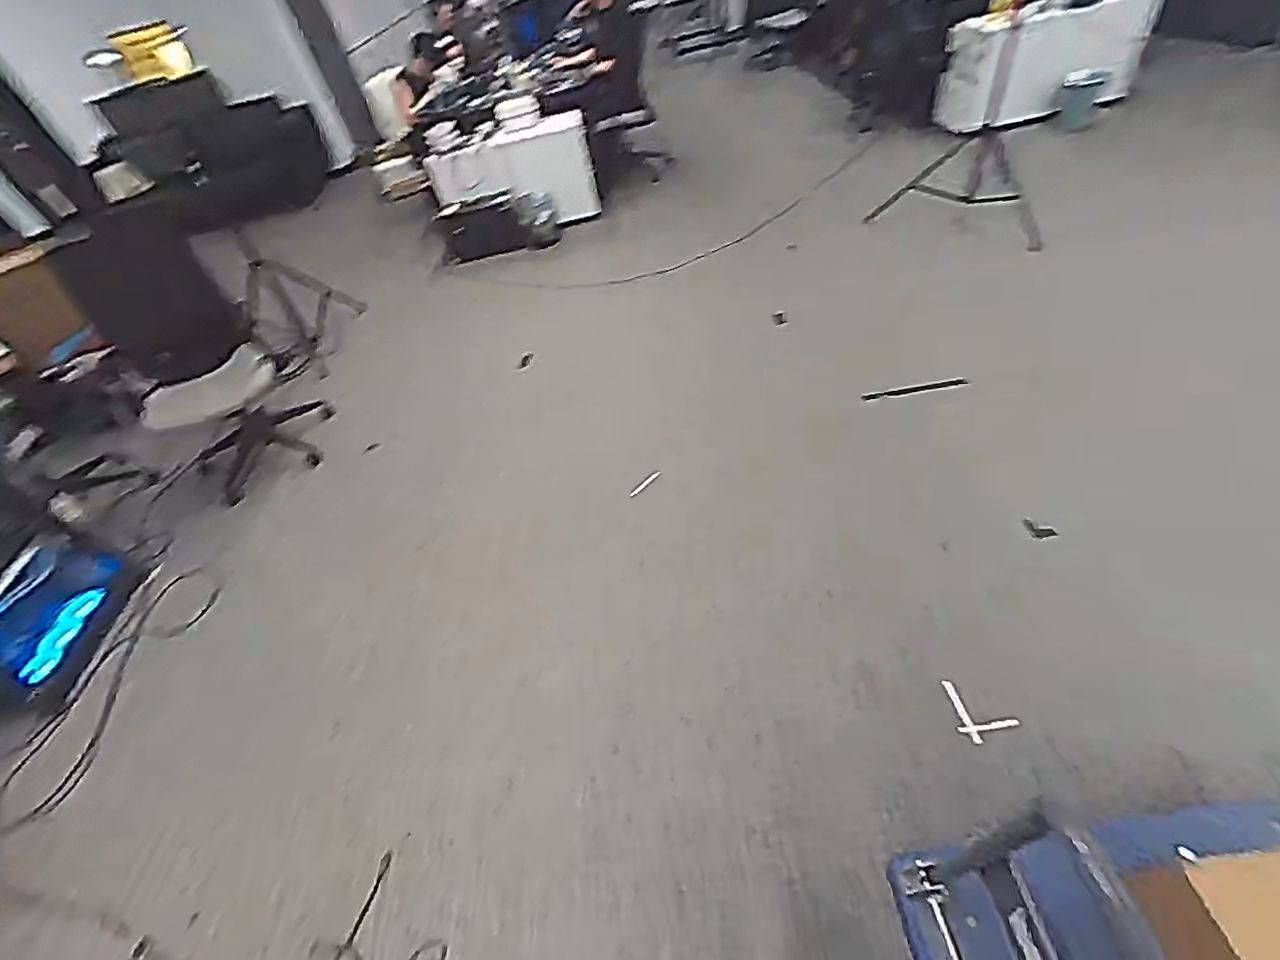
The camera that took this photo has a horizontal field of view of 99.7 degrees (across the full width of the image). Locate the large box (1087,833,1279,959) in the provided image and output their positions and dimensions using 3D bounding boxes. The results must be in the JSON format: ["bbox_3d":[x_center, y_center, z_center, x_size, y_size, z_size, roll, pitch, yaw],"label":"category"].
[{"bbox_3d":[0.919,0.724,0.700,0.320,0.320,0.408,-10,45,3],"label":"large box"}]
